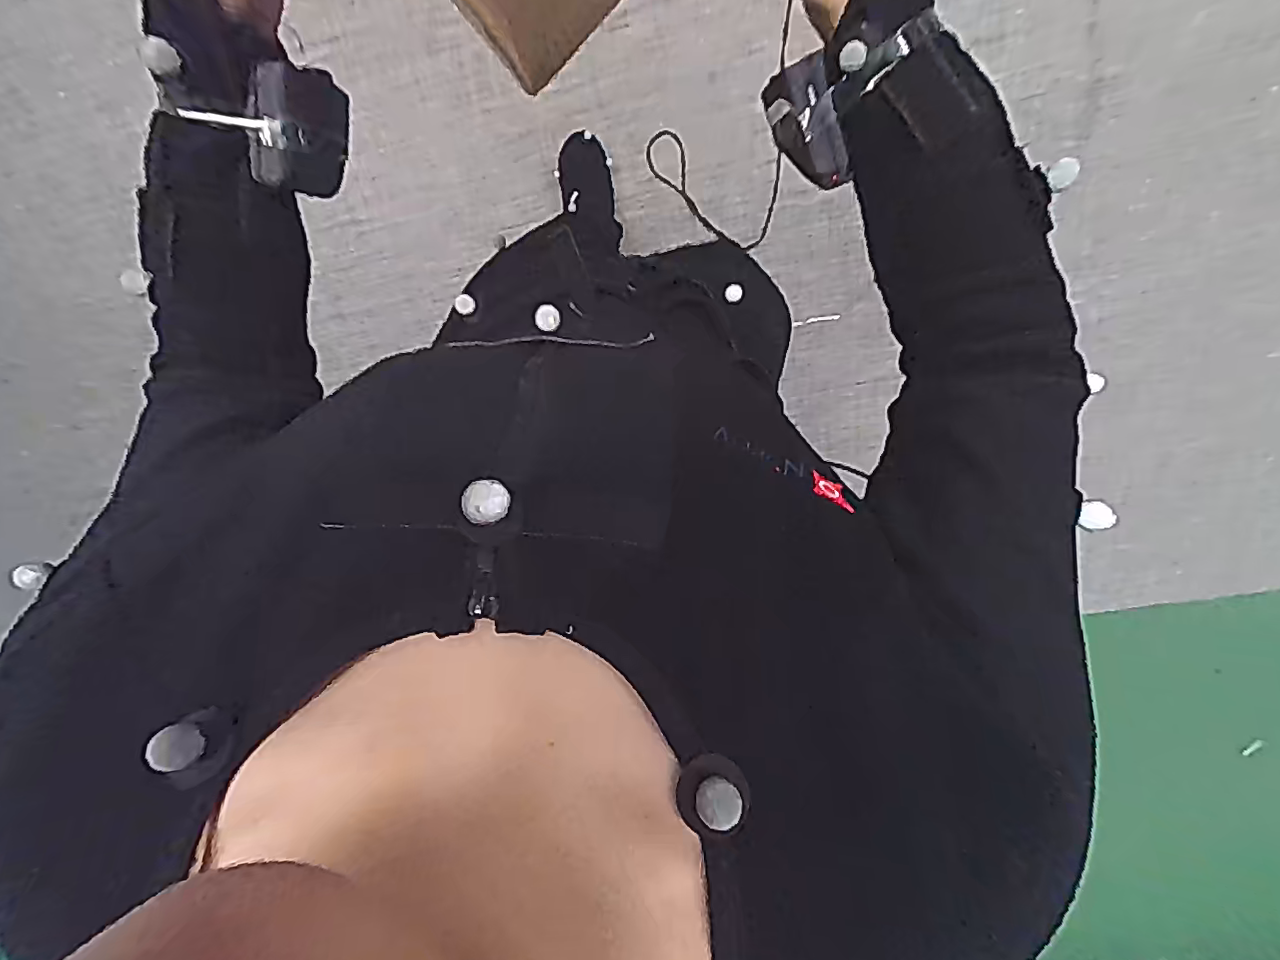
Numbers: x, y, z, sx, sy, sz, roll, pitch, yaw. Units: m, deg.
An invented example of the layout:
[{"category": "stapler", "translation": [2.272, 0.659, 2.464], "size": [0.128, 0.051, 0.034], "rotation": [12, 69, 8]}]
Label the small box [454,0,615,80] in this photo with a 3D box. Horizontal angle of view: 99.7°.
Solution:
[{"category": "small box", "translation": [-0.054, -0.304, 0.202], "size": [0.179, 0.176, 0.168], "rotation": [-39, 106, 16]}]
